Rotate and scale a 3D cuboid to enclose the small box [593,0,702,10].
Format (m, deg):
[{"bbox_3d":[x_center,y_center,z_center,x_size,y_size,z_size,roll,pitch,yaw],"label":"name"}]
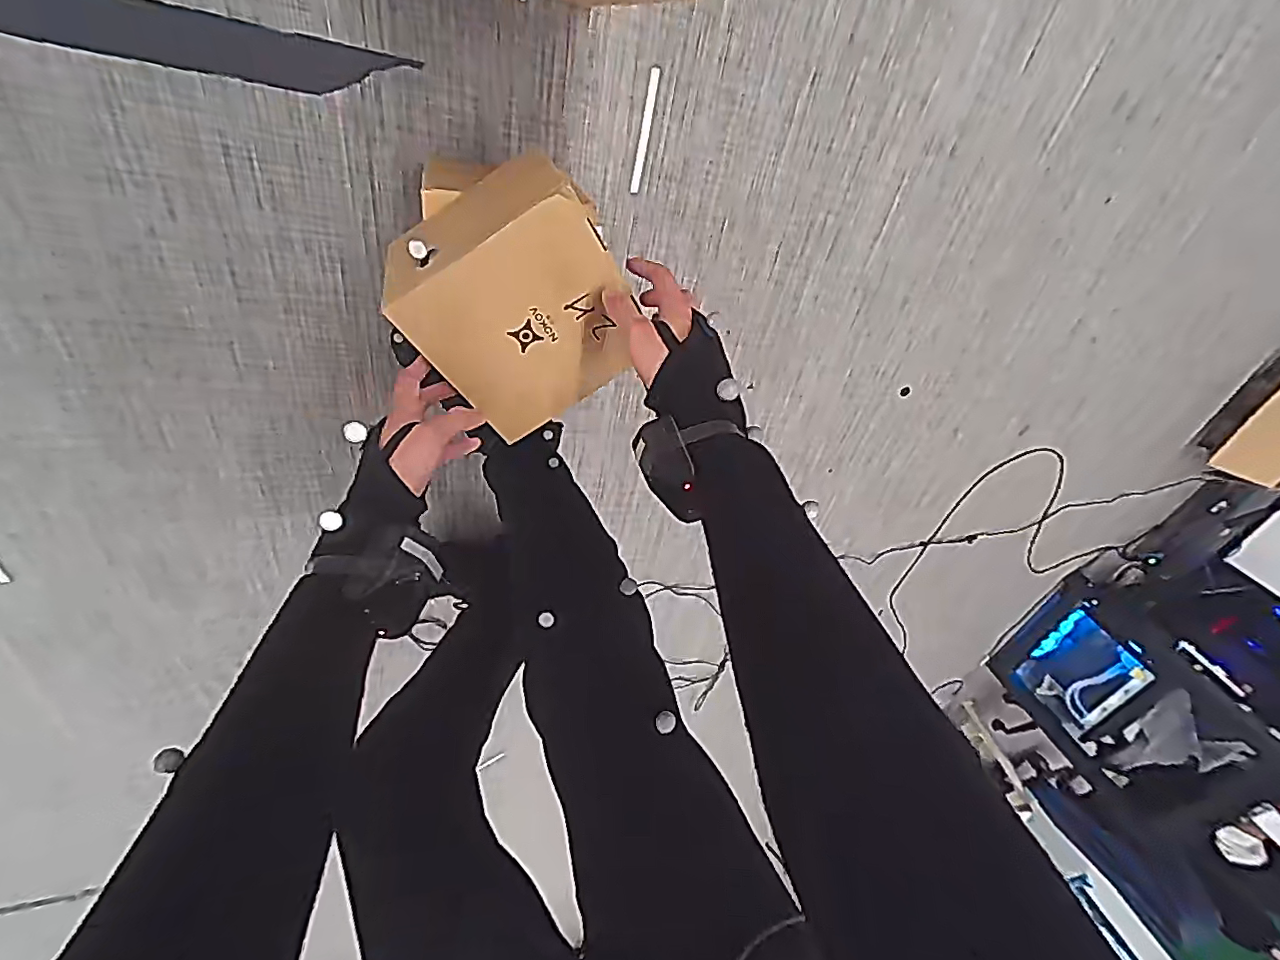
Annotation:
[{"bbox_3d":[-0.044,-0.426,0.340,0.179,0.176,0.168,0,127,-21],"label":"small box"}]

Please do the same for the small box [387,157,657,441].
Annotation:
[{"bbox_3d":[-0.113,-0.177,0.524,0.179,0.176,0.168,-32,133,5],"label":"small box"}]

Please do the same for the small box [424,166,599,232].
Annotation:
[{"bbox_3d":[-0.160,-0.267,0.653,0.179,0.176,0.168,-4,129,-19],"label":"small box"}]
